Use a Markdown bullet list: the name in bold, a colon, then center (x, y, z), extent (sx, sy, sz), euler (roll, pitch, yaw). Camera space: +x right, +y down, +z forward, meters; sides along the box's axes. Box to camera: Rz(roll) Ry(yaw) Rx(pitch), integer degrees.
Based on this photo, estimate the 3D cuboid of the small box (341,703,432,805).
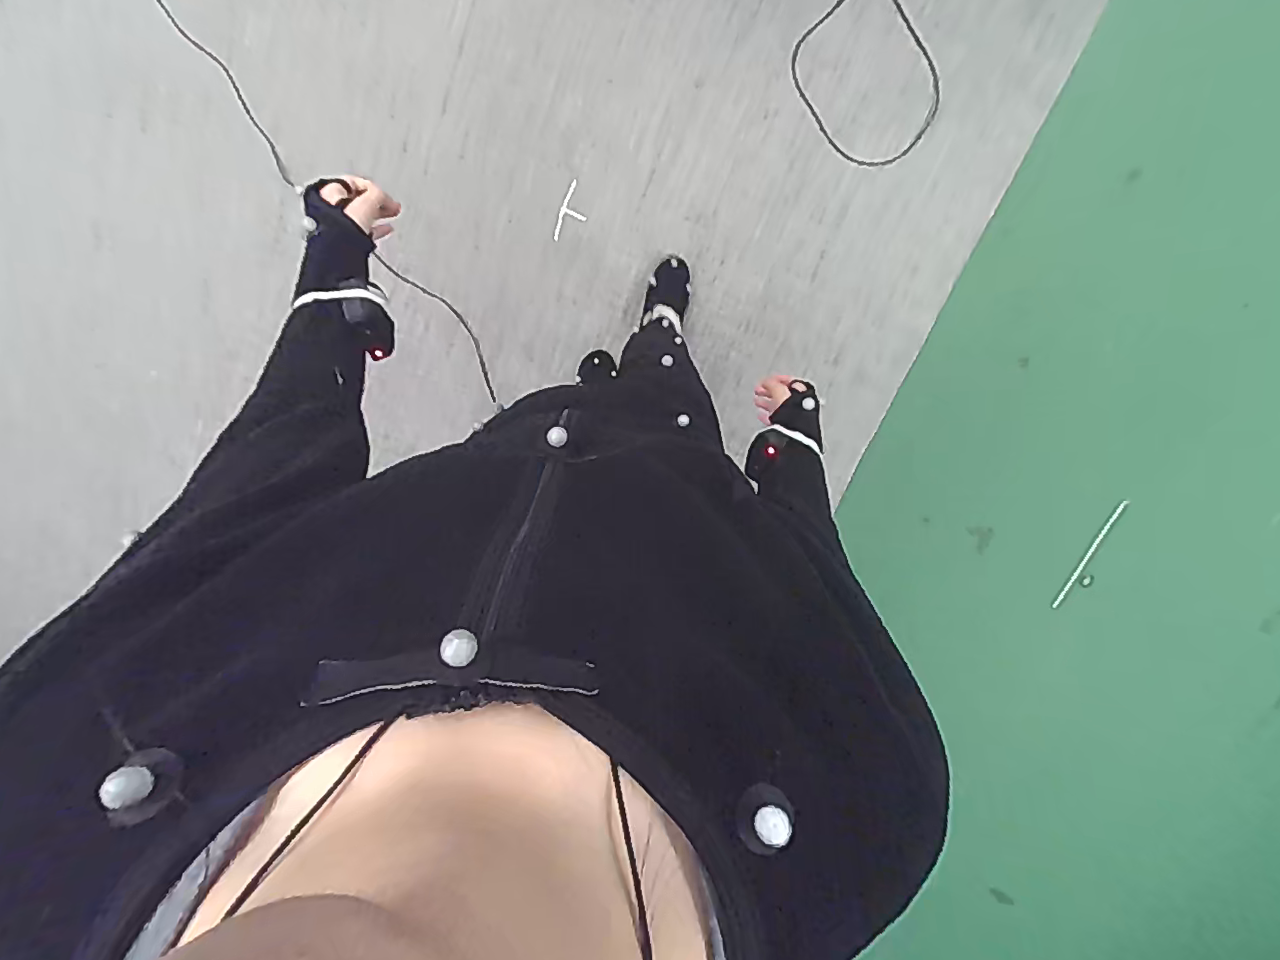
- **small box**: center (-0.734, 0.798, 1.584), extent (0.168, 0.176, 0.179), euler (24, 103, -9)
